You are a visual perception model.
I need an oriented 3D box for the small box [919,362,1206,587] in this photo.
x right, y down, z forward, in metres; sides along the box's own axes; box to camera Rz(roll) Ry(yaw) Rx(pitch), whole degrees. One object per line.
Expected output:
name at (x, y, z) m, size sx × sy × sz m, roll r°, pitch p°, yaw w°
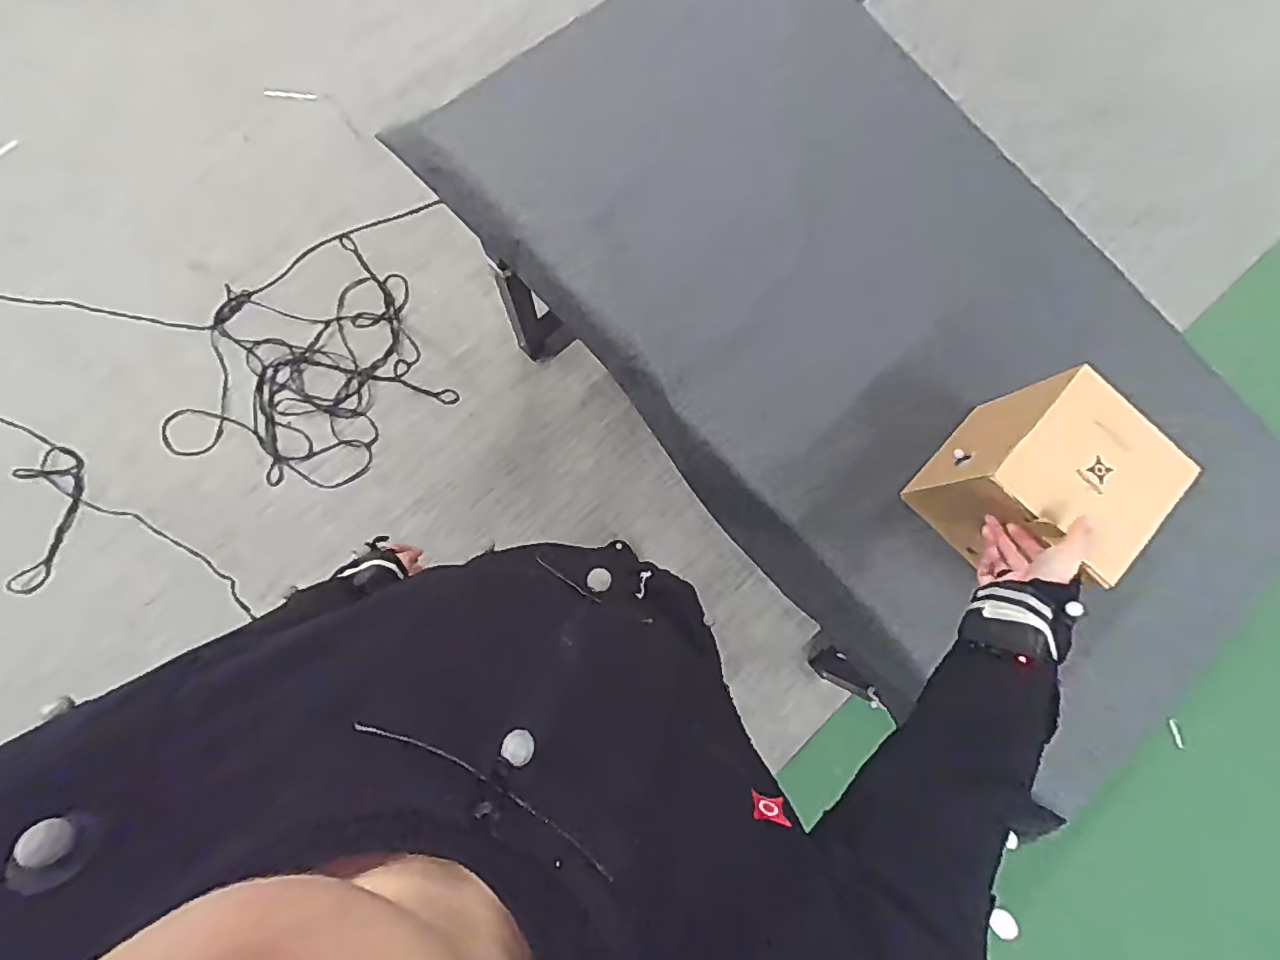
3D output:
small box at (0.464, 0.003, 0.628) m, size 0.168 × 0.176 × 0.179 m, roll 44°, pitch 80°, yaw 1°
